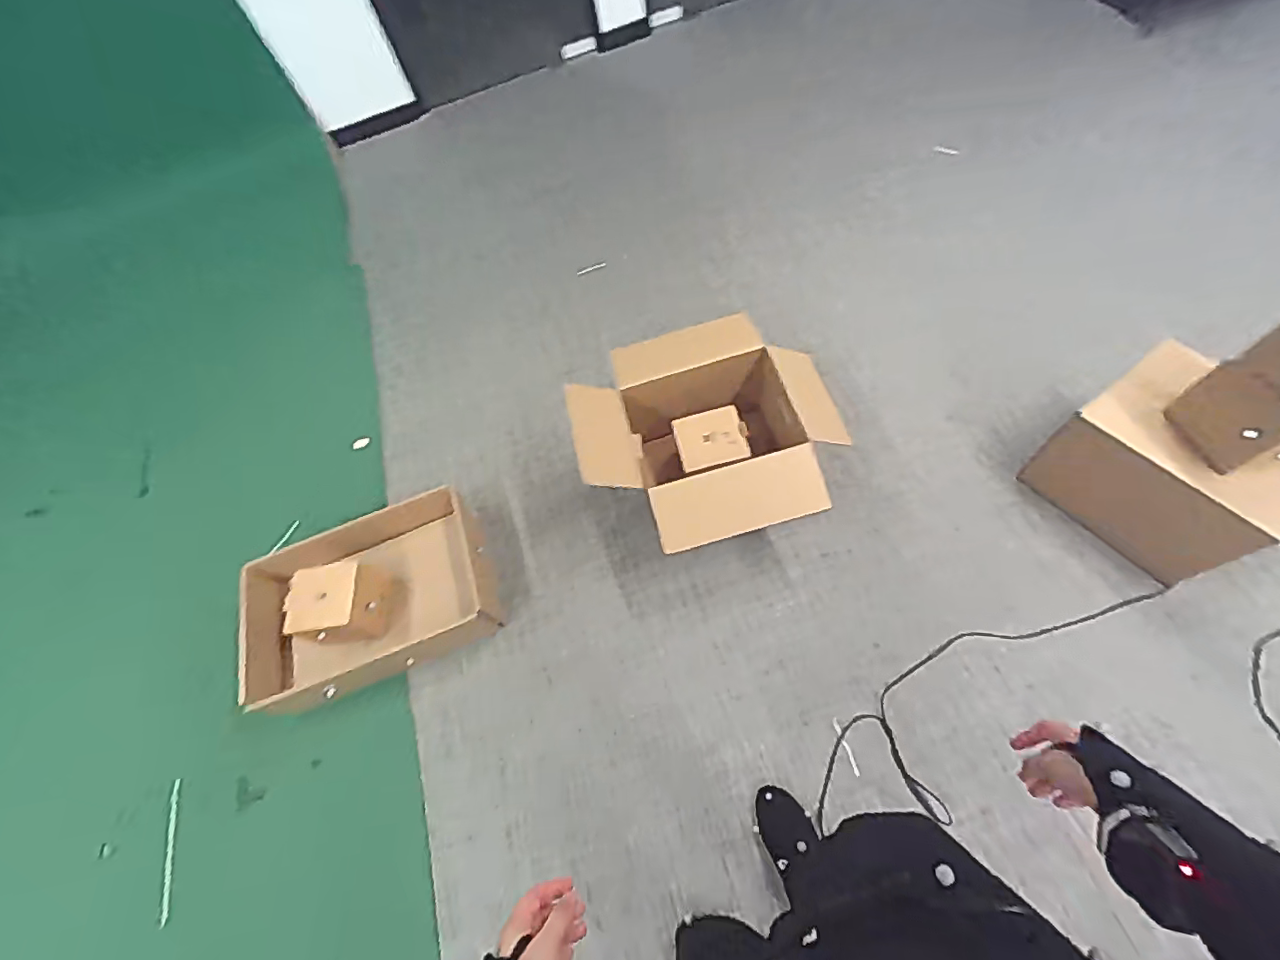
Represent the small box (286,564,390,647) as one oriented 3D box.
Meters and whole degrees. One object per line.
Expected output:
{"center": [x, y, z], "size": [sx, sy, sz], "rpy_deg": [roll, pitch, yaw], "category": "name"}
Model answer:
{"center": [-0.796, 0.339, 1.446], "size": [0.179, 0.176, 0.168], "rpy_deg": [-10, 61, 4], "category": "small box"}
